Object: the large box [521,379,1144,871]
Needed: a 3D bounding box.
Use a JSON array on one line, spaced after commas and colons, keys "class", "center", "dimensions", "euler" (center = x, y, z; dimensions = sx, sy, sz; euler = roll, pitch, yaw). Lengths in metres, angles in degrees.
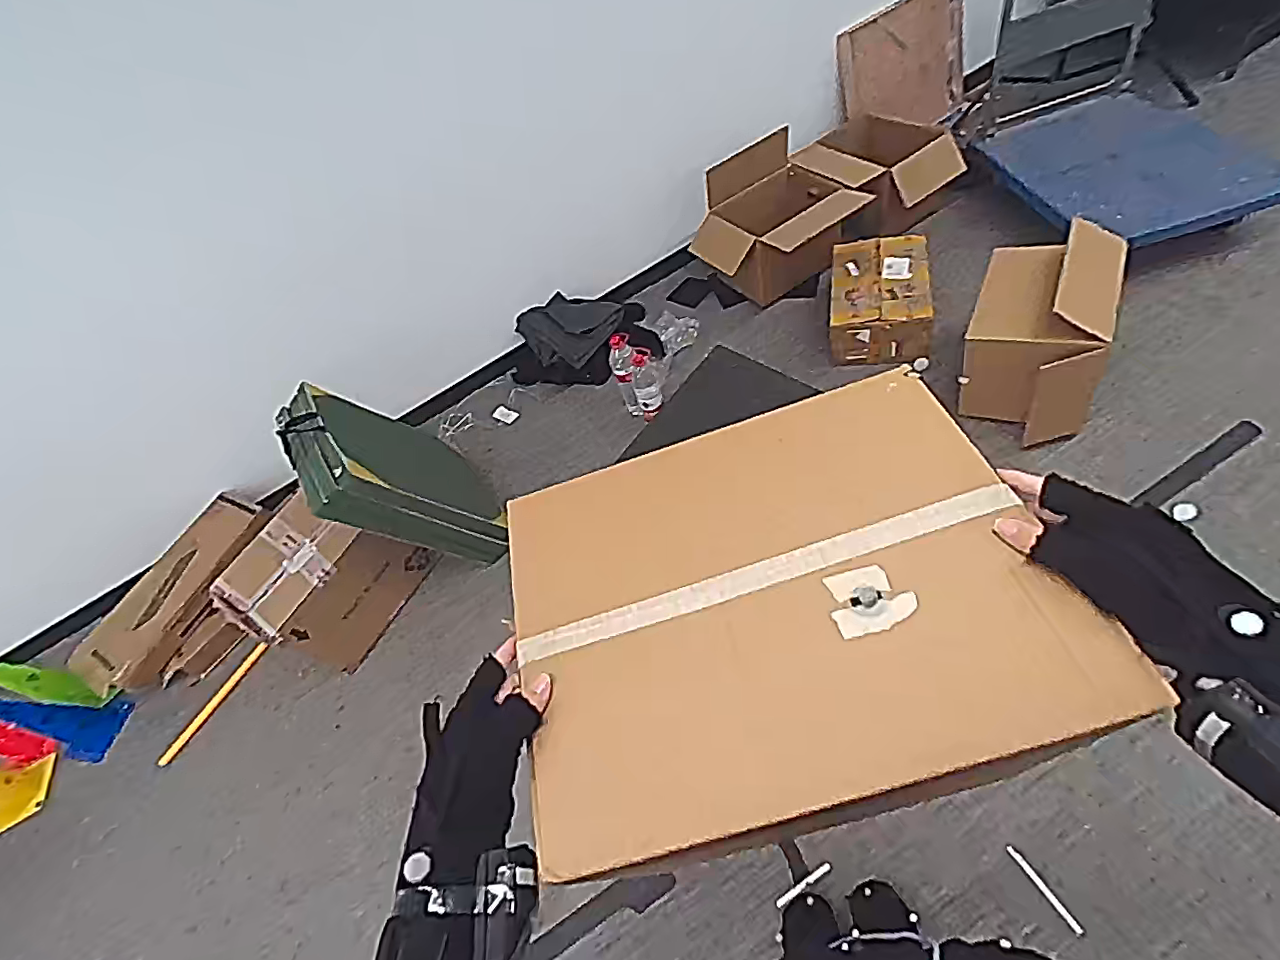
[{"class": "large box", "center": [0.134, 0.165, 0.557], "dimensions": [0.408, 0.320, 0.320], "euler": [-18, 53, 4]}]
